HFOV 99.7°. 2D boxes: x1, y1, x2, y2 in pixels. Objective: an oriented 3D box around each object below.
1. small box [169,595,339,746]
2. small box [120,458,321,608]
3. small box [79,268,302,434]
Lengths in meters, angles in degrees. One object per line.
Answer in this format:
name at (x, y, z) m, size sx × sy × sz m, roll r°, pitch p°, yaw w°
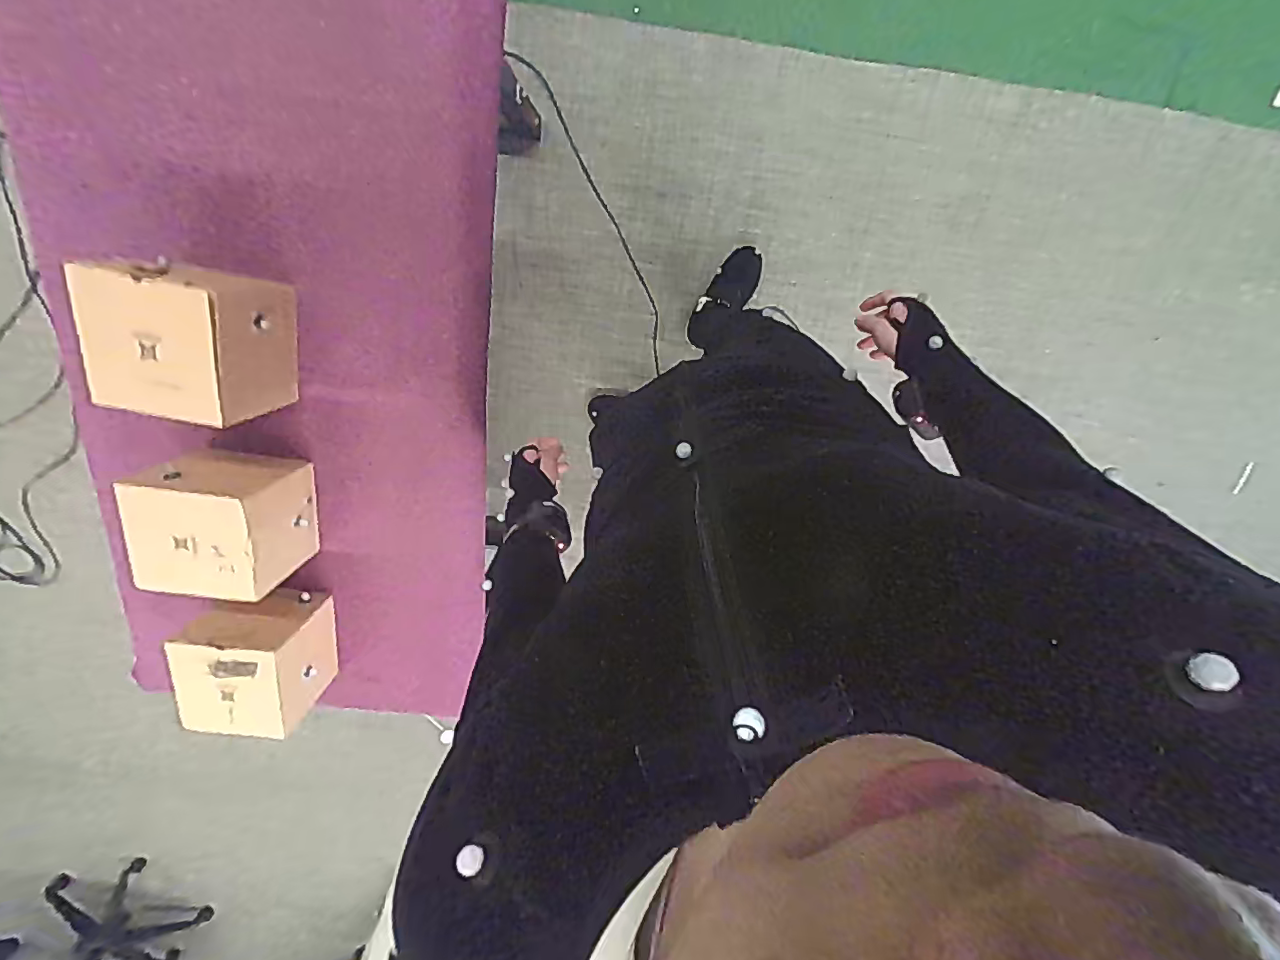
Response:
small box at (-0.637, 0.313, 0.917) m, size 0.168 × 0.176 × 0.179 m, roll 7°, pitch 110°, yaw -2°
small box at (-0.626, 0.072, 0.831) m, size 0.179 × 0.176 × 0.168 m, roll 8°, pitch 110°, yaw -3°
small box at (-0.595, -0.182, 0.742) m, size 0.168 × 0.176 × 0.179 m, roll 11°, pitch 110°, yaw -3°
